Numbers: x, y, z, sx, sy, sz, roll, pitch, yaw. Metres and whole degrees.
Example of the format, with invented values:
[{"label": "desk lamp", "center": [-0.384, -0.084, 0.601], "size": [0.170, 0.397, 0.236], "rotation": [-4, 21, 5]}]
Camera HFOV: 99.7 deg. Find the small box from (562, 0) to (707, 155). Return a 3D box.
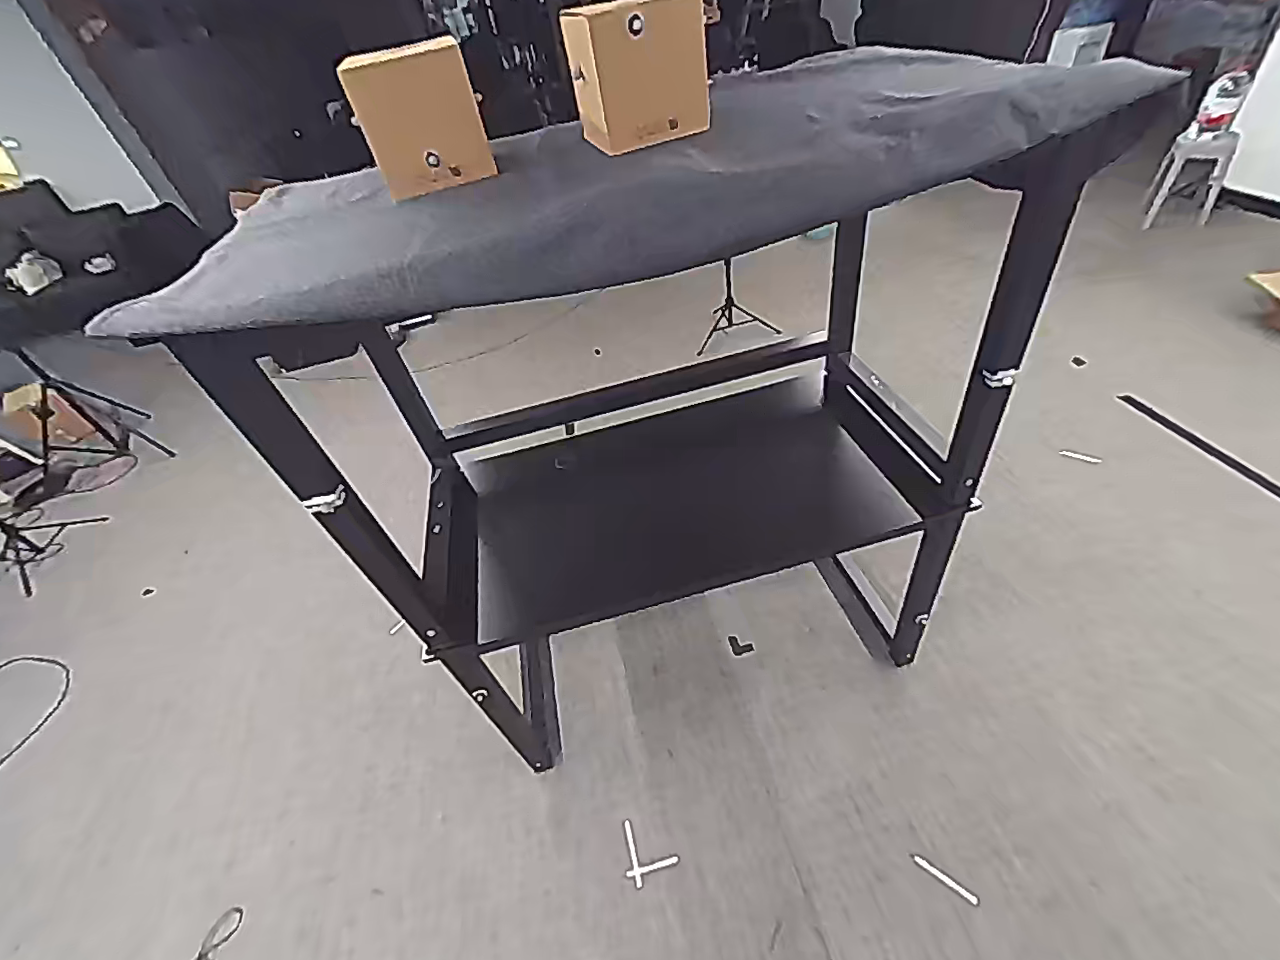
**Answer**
[{"label": "small box", "center": [-0.007, -0.619, 0.831], "size": [0.168, 0.176, 0.179], "rotation": [-20, 43, -7]}]
